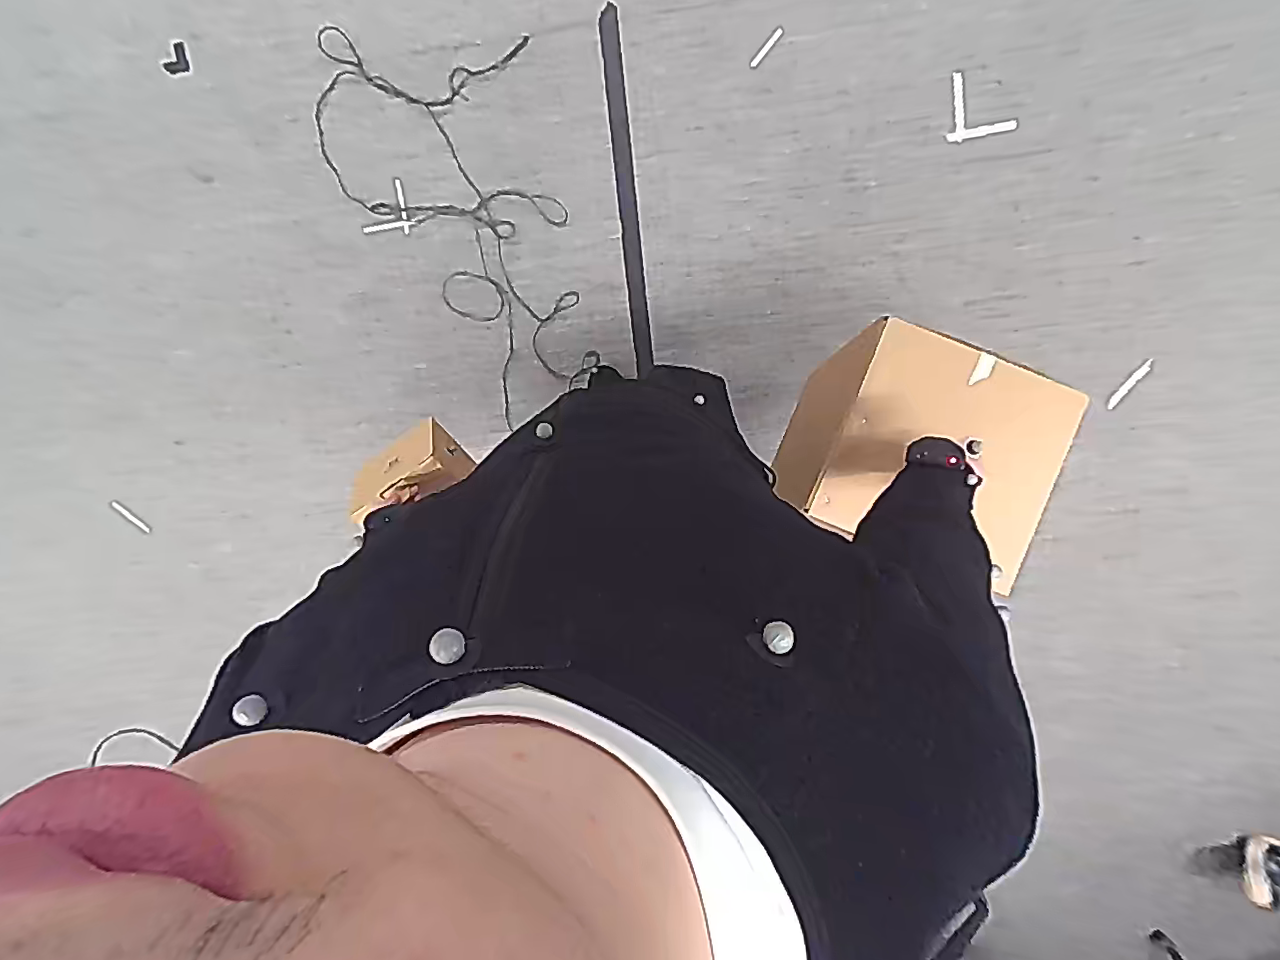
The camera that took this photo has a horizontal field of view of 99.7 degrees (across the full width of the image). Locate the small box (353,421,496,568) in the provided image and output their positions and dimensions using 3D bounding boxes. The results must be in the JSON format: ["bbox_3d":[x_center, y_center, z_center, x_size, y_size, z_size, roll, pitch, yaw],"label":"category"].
[{"bbox_3d":[-0.375,0.031,0.964,0.168,0.179,0.176,-36,122,0],"label":"small box"}]
